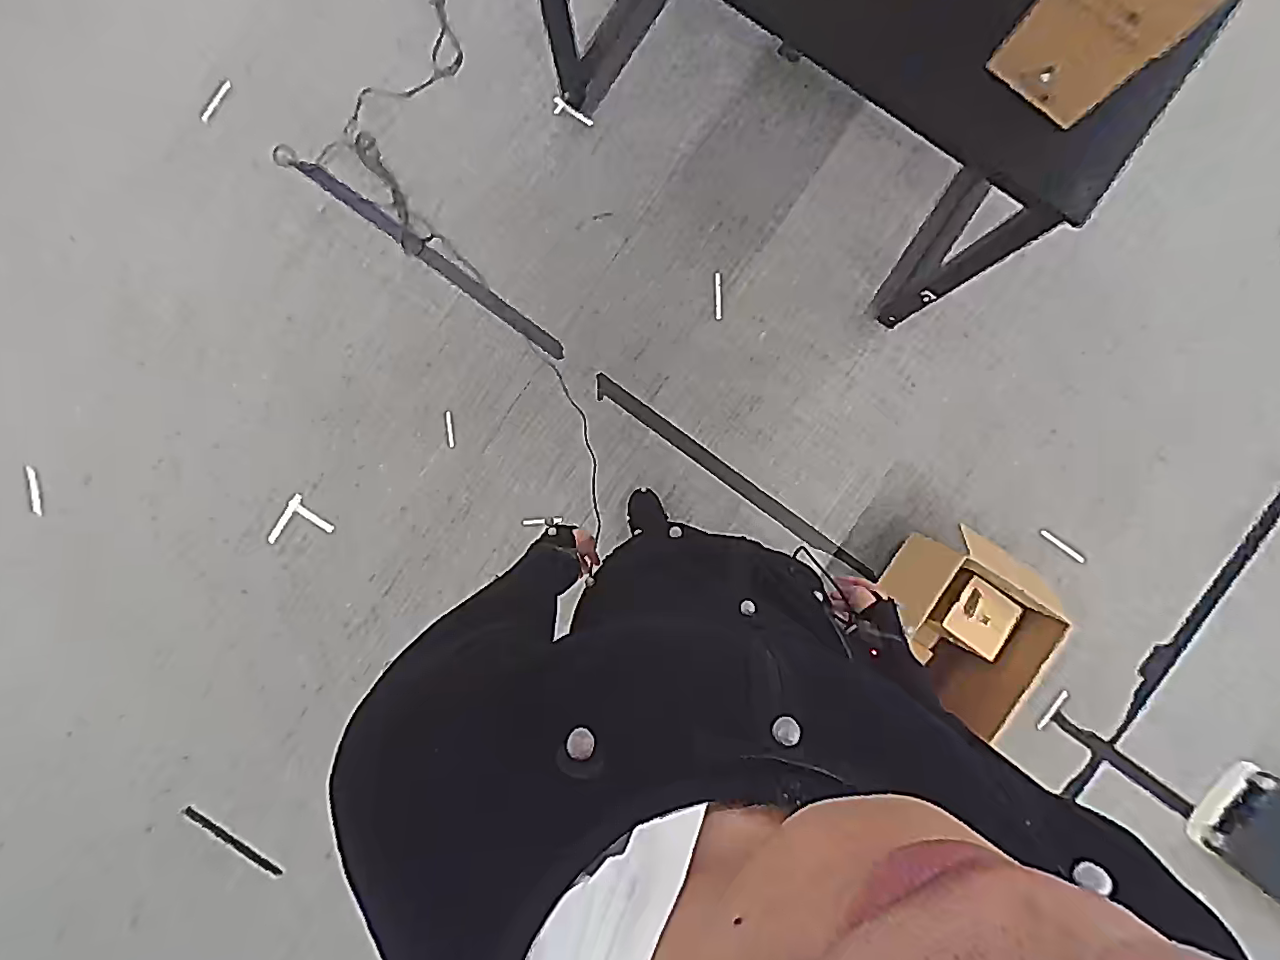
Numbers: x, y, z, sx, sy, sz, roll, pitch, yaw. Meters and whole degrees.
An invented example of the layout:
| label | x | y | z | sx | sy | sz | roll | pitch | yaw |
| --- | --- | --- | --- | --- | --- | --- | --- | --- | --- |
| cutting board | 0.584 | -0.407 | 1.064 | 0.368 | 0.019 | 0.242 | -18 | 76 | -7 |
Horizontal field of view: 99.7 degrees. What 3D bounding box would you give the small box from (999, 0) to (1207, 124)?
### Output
| label | x | y | z | sx | sy | sz | roll | pitch | yaw |
| --- | --- | --- | --- | --- | --- | --- | --- | --- | --- |
| small box | 0.679 | -0.680 | 0.784 | 0.168 | 0.176 | 0.179 | 40 | 92 | 1 |
